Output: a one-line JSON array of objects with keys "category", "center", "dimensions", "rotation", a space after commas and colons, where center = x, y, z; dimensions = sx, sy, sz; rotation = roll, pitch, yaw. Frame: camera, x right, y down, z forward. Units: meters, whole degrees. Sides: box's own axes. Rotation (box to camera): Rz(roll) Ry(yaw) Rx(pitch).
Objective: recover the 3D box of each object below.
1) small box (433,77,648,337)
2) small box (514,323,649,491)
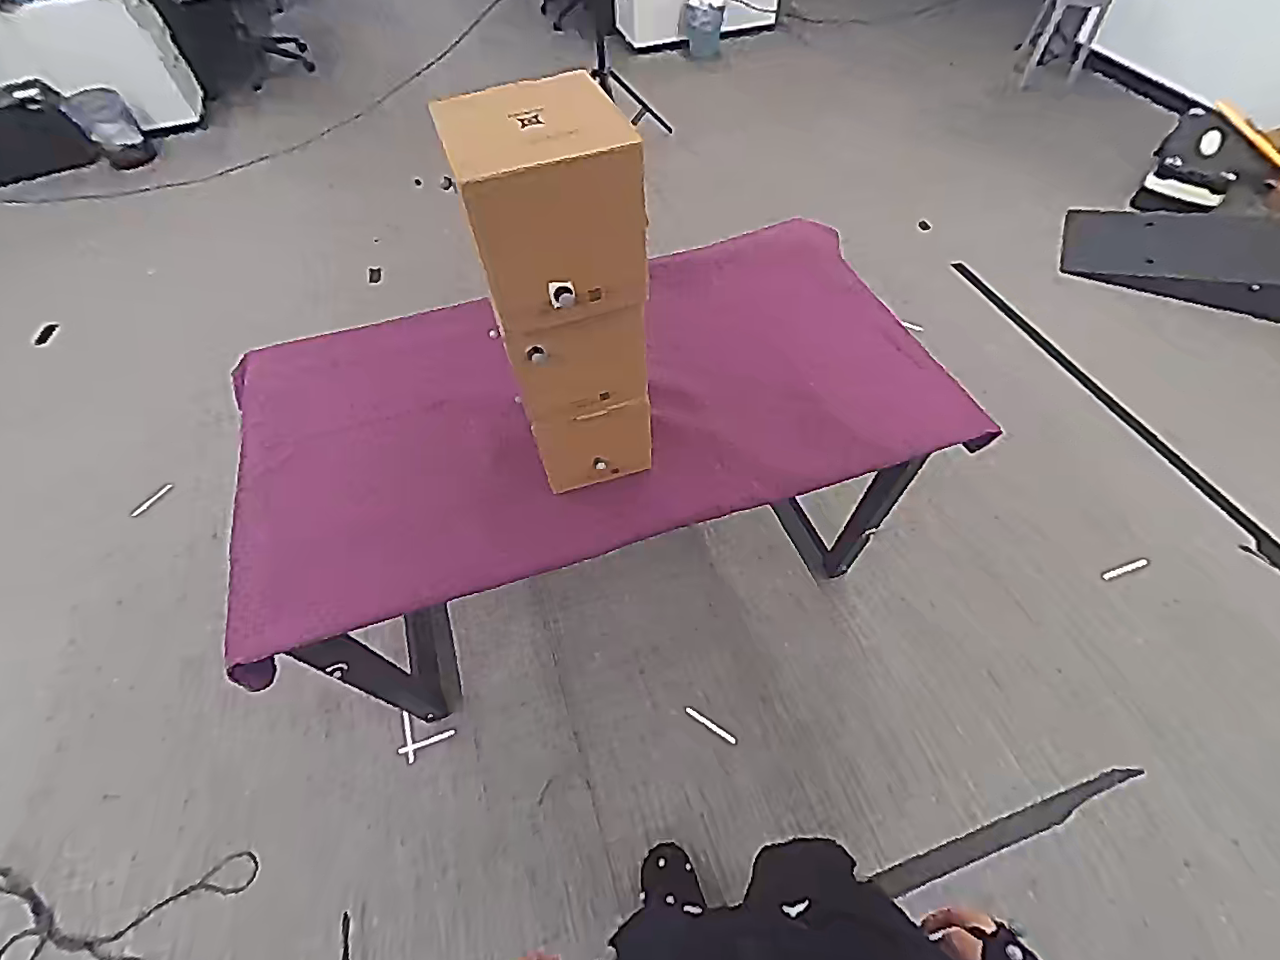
[{"category": "small box", "center": [-0.097, -0.283, 0.569], "dimensions": [0.168, 0.176, 0.179], "rotation": [-19, 58, -10]}, {"category": "small box", "center": [-0.088, -0.111, 0.847], "dimensions": [0.168, 0.176, 0.179], "rotation": [-16, 57, -8]}]
